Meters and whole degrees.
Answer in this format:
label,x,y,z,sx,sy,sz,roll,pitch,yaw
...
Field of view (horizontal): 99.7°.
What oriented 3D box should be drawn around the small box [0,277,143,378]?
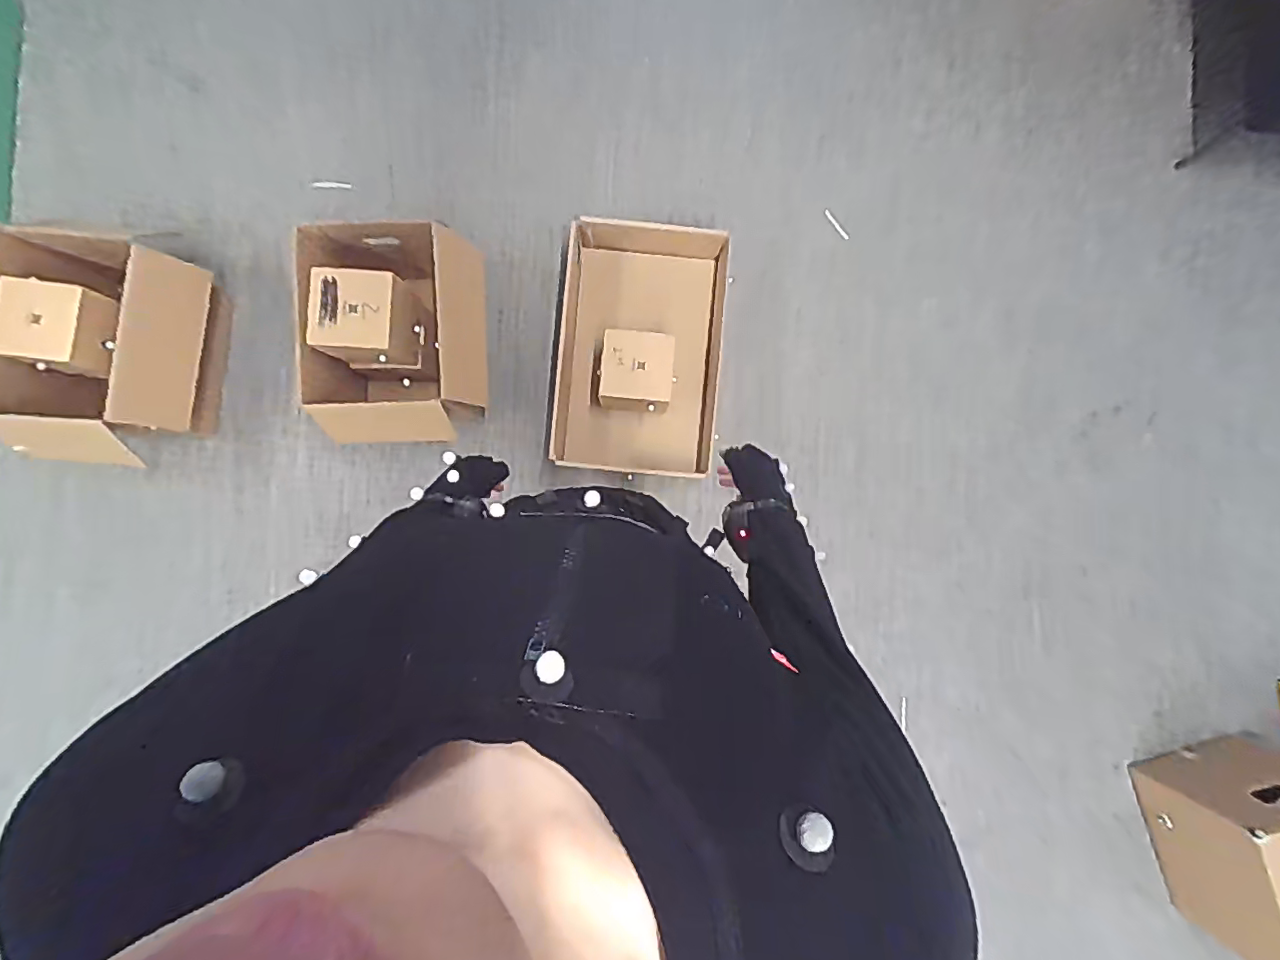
label,x,y,z,sx,sy,sz,roll,pitch,yaw
small box,-1.274,-0.331,1.207,0.179,0.176,0.168,6,87,-2
